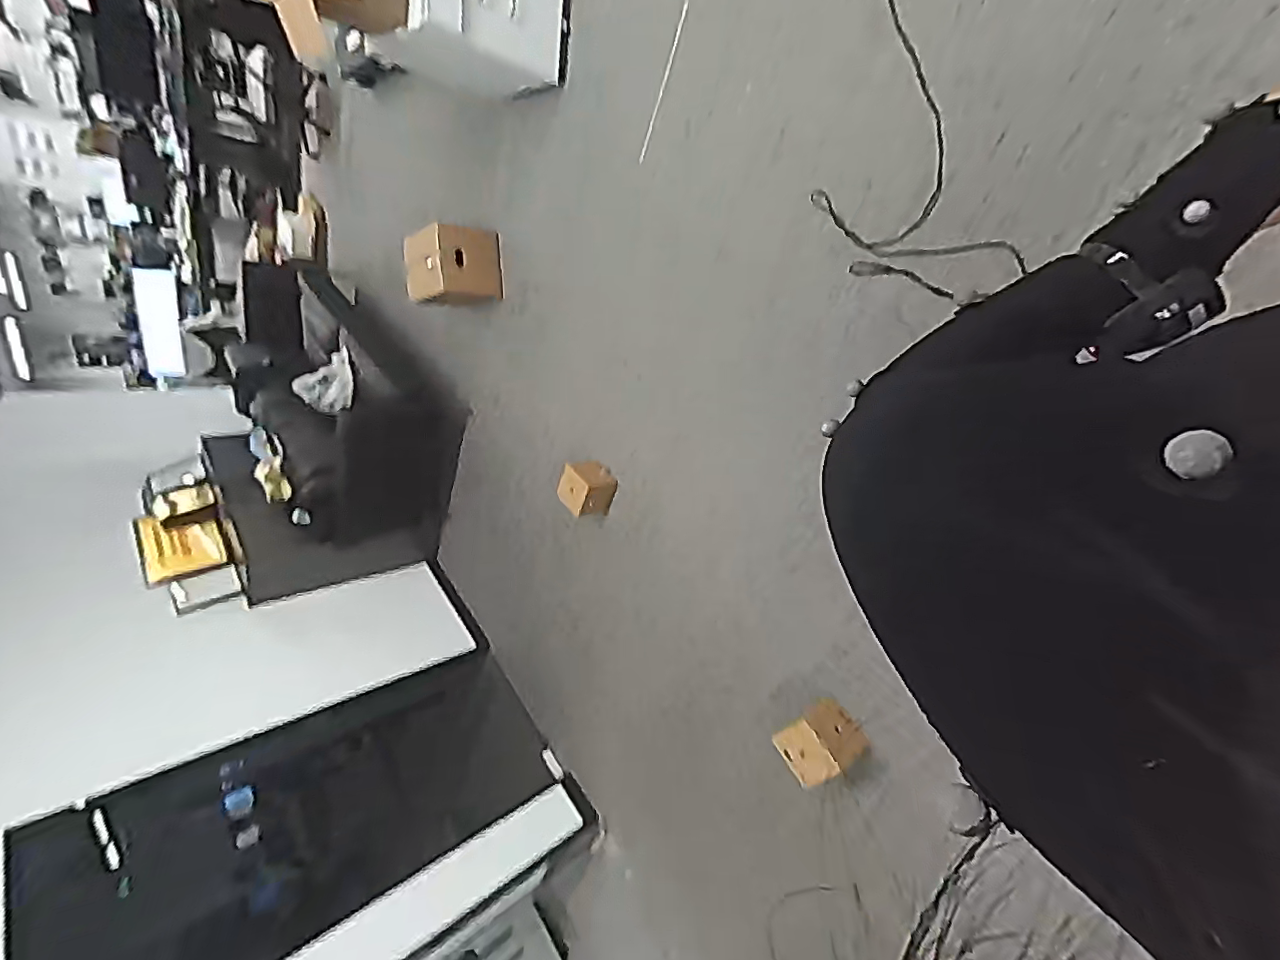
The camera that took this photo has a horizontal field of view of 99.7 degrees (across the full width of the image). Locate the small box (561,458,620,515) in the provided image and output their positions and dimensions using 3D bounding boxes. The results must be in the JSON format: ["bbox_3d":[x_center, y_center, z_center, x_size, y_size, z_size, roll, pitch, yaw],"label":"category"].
[{"bbox_3d":[-0.213,0.023,2.348,0.168,0.176,0.179,44,126,30],"label":"small box"}]

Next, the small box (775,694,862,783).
[{"bbox_3d":[0.563,0.800,1.685,0.168,0.176,0.179,55,132,23],"label":"small box"}]
